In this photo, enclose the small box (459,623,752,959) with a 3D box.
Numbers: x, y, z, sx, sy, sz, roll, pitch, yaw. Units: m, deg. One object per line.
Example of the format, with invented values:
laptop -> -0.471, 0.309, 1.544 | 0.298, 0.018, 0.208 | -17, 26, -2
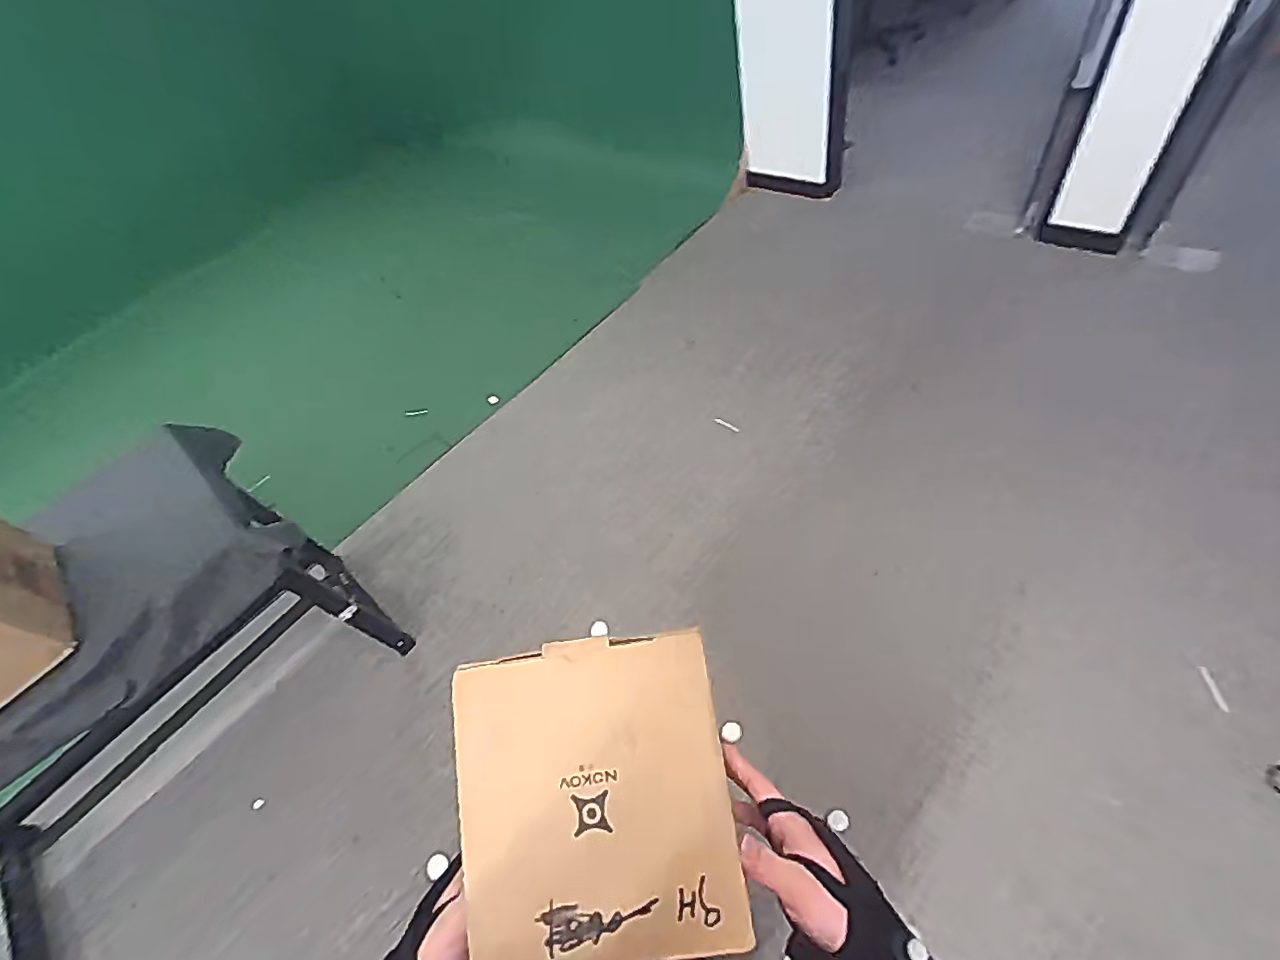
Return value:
small box -> -0.020, 0.209, 0.407 | 0.168, 0.176, 0.179 | -11, 74, 4
